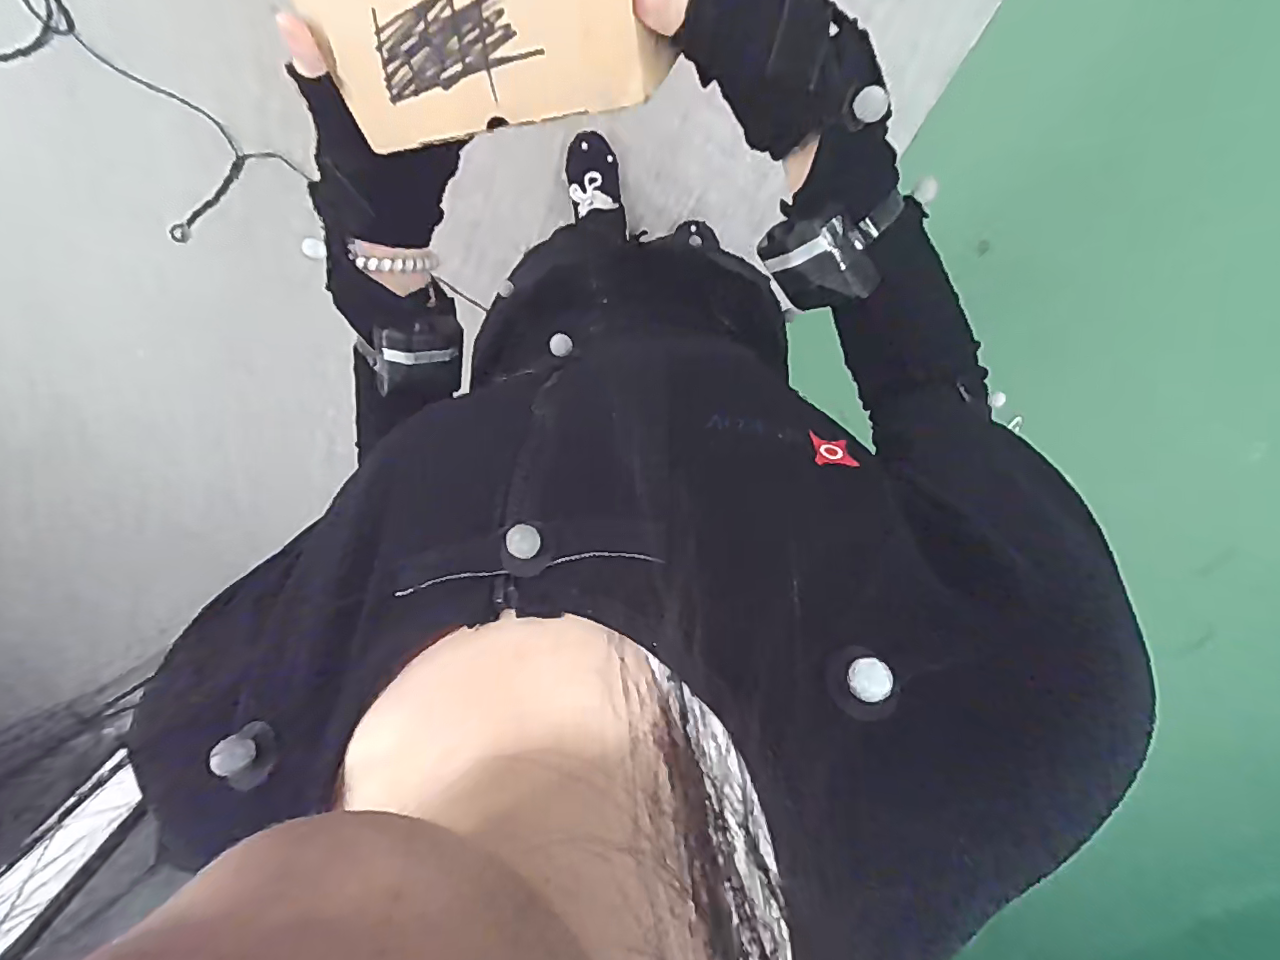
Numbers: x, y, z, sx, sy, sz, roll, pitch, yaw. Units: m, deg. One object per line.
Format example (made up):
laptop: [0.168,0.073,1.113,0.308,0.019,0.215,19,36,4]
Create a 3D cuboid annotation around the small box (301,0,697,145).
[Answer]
small box: [-0.071,-0.303,0.266,0.168,0.176,0.179,3,141,19]
